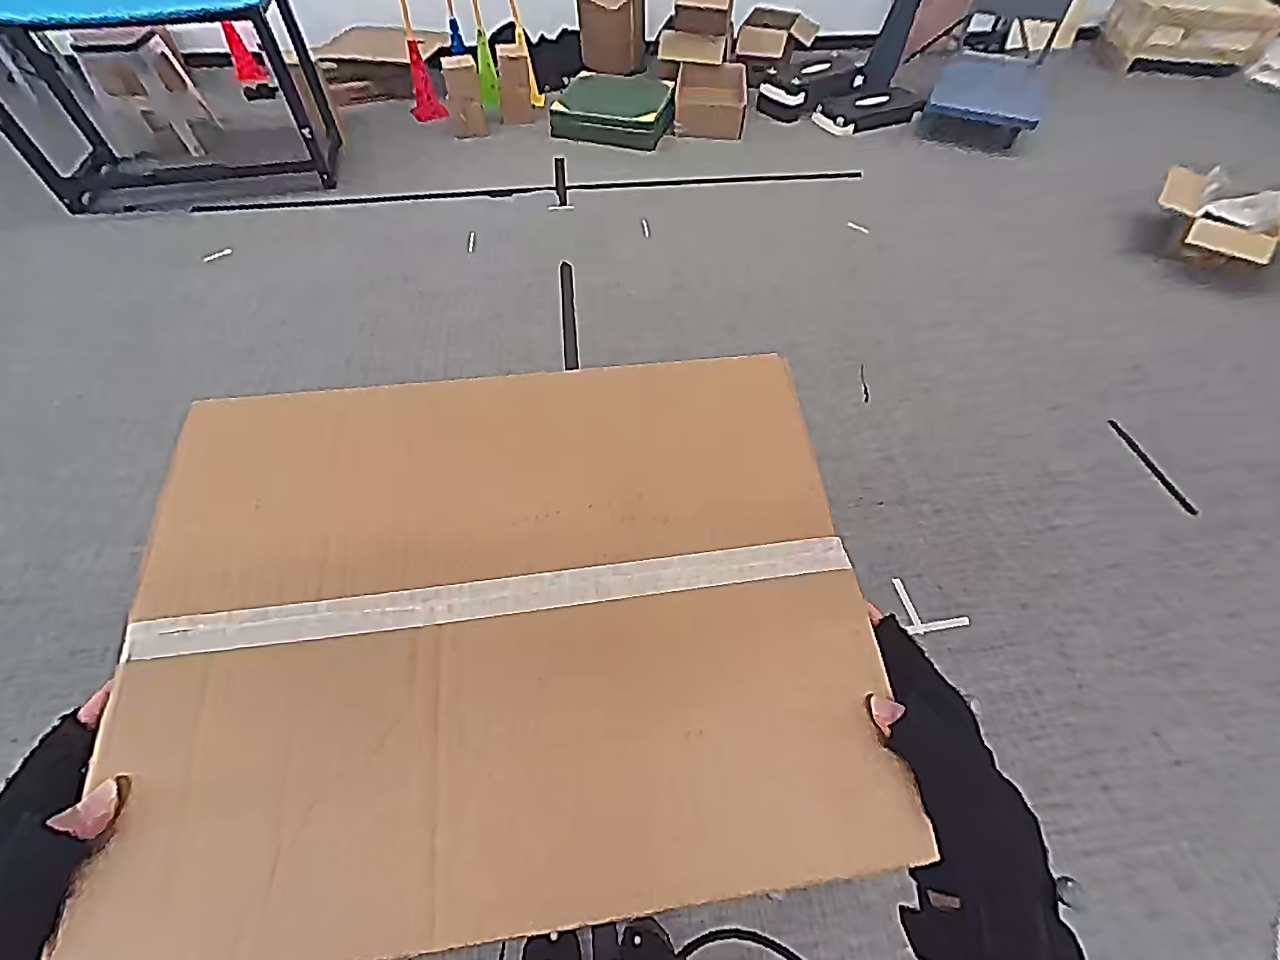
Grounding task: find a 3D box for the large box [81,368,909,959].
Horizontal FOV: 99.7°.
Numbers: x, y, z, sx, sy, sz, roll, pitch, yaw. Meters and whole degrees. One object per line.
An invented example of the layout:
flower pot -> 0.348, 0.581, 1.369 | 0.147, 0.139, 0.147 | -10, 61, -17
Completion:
large box -> -0.081, 0.139, 0.452 | 0.408, 0.320, 0.320 | -6, 64, -5
